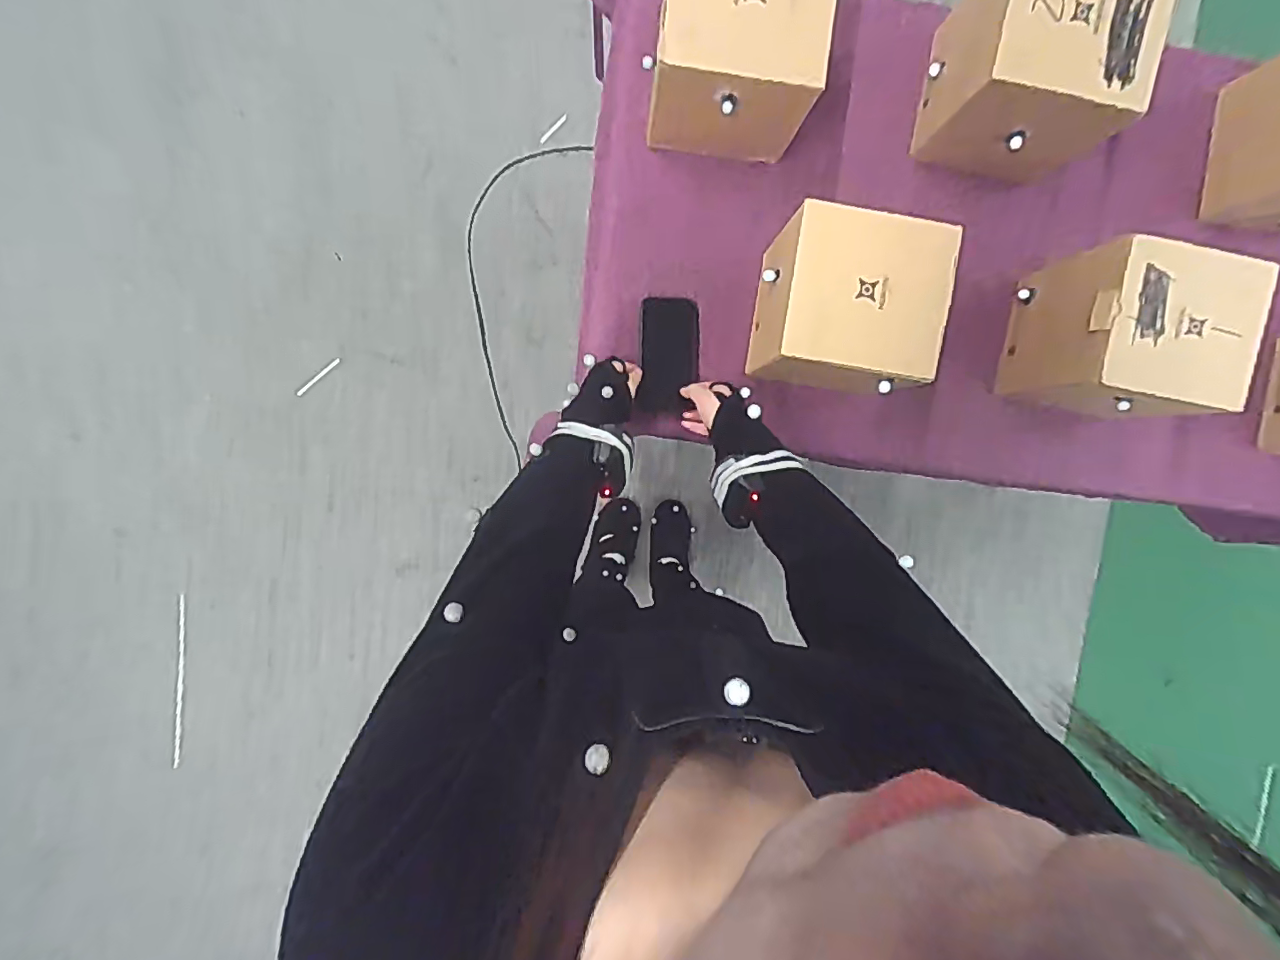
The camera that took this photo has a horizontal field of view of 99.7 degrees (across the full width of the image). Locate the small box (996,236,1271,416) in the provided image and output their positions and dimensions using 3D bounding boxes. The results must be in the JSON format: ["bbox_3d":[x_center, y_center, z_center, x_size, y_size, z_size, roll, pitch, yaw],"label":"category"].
[{"bbox_3d":[0.591,-0.175,0.674,0.179,0.176,0.168,11,94,-4],"label":"small box"}]

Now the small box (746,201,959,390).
[{"bbox_3d":[0.240,-0.207,0.657,0.179,0.176,0.168,9,94,-4],"label":"small box"}]

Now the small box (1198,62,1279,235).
[{"bbox_3d":[0.856,-0.427,0.665,0.168,0.176,0.179,5,95,-2],"label":"small box"}]

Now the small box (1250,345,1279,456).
[{"bbox_3d":[0.974,-0.104,0.696,0.179,0.176,0.168,7,94,-3],"label":"small box"}]
